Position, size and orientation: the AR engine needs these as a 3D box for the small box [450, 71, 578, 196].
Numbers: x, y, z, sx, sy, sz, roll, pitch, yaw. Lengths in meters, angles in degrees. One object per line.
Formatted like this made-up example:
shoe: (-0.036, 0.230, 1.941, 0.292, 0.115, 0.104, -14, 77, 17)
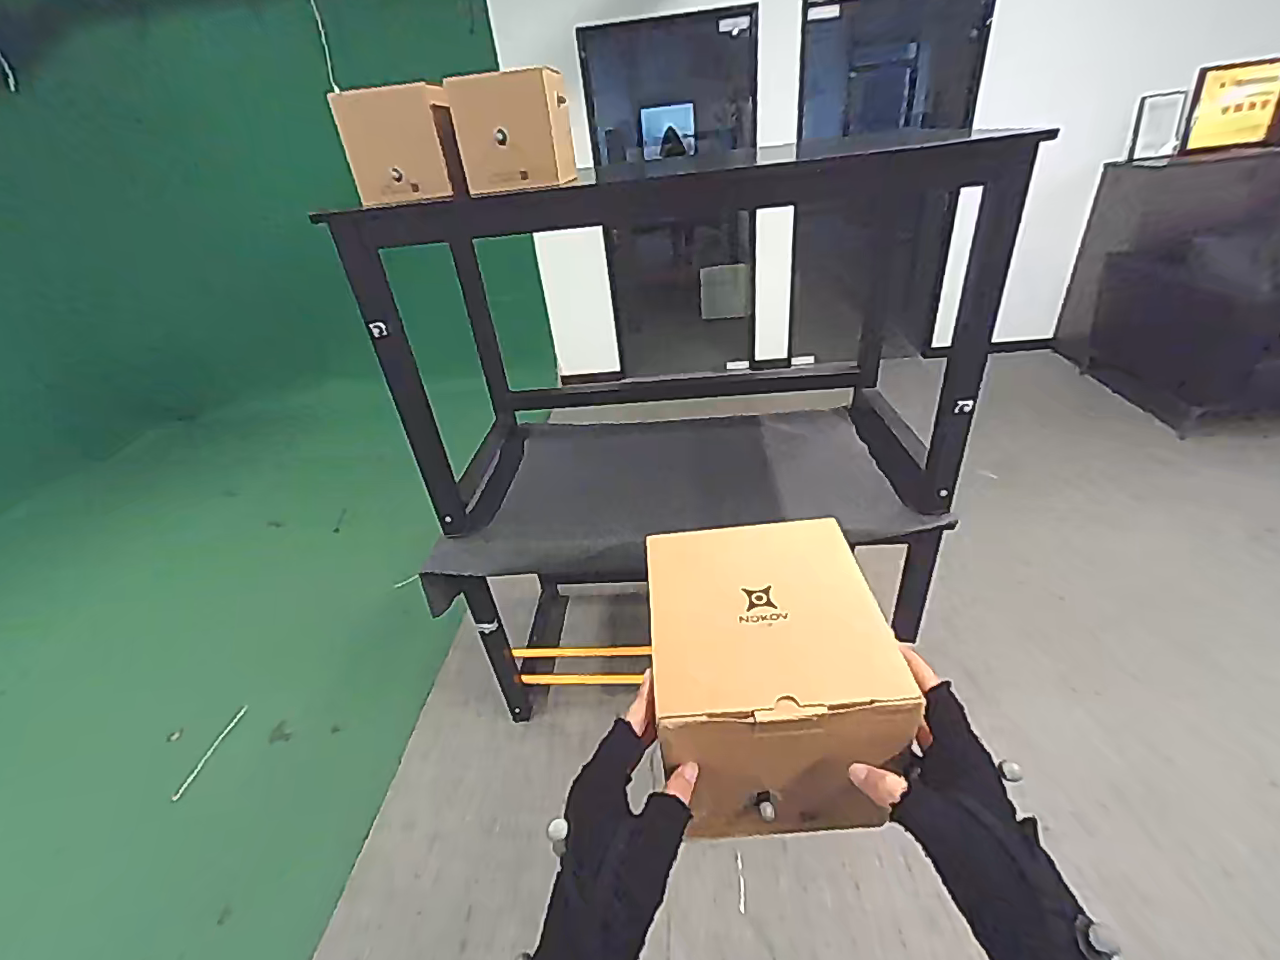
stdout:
small box: (-0.213, -0.616, 0.975, 0.168, 0.176, 0.179, -2, 32, 6)
